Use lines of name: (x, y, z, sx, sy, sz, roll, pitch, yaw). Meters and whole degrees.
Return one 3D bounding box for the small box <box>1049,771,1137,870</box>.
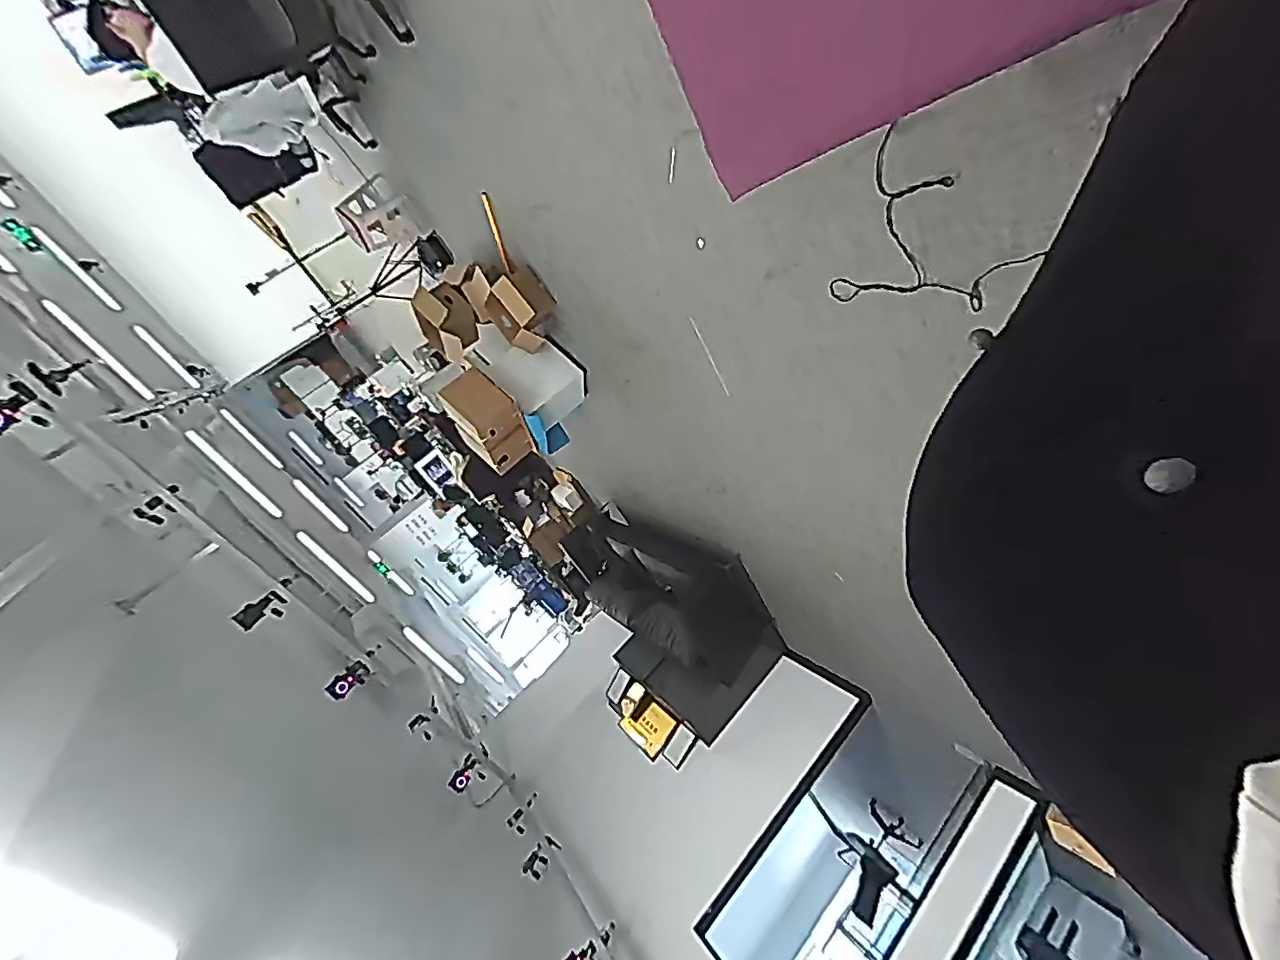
small box: (1.448, 1.079, 1.727, 0.168, 0.176, 0.179, 17, 144, 58)
